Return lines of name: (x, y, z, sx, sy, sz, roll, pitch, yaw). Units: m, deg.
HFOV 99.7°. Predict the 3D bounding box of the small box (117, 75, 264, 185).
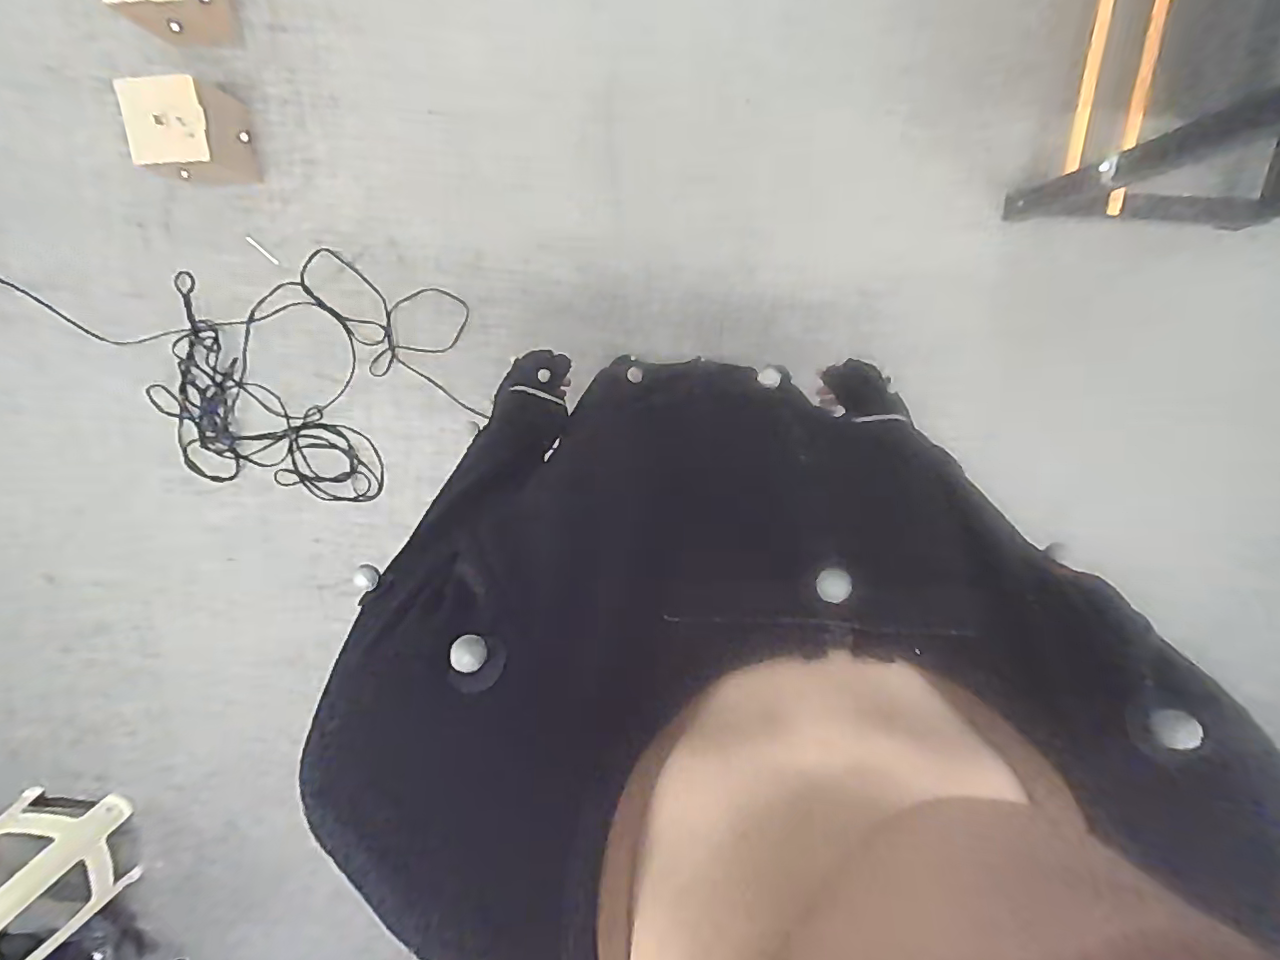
small box: (-1.011, -0.787, 1.232, 0.179, 0.176, 0.168, -2, 105, 1)
